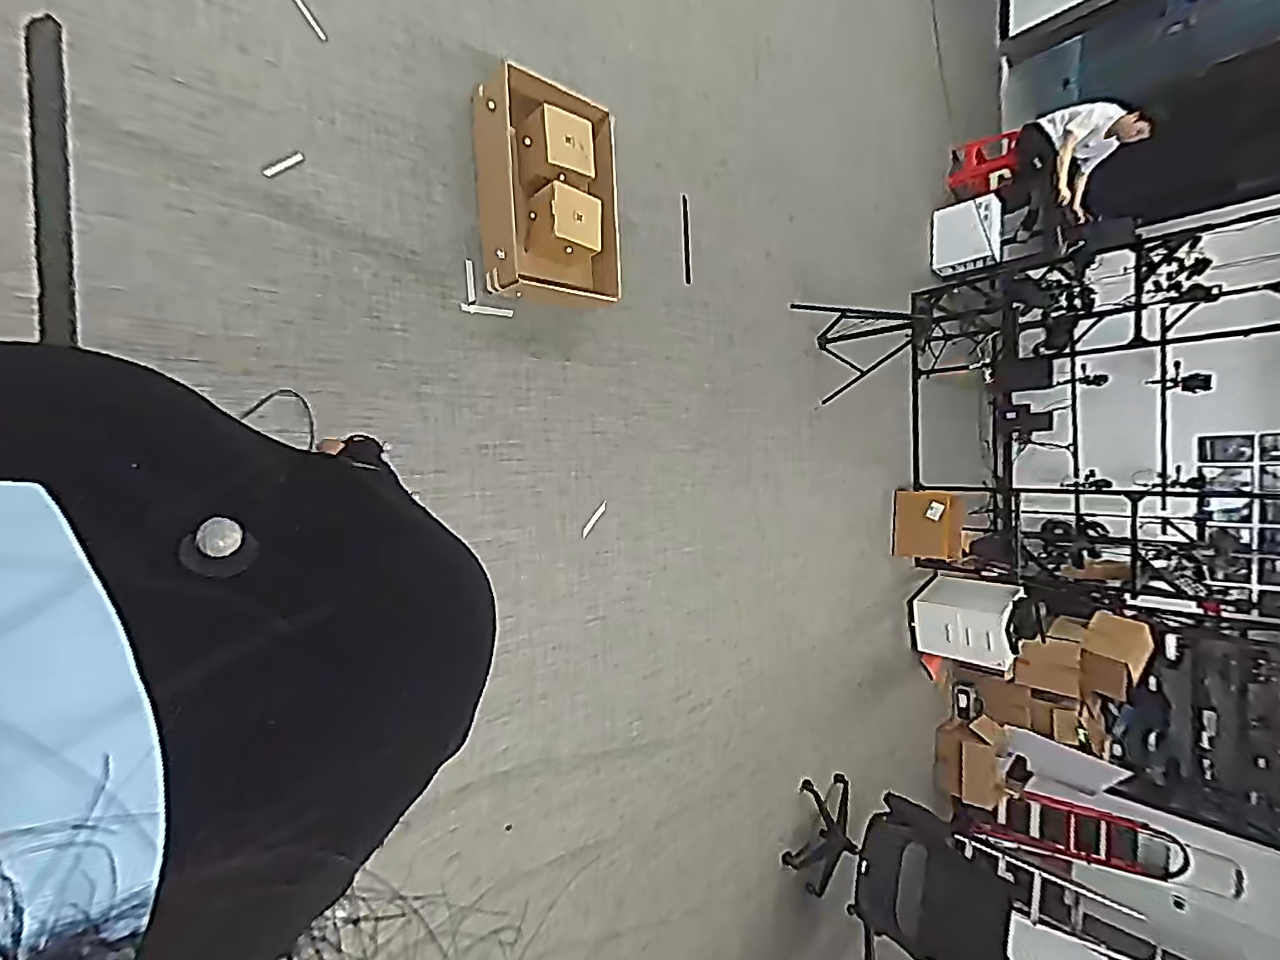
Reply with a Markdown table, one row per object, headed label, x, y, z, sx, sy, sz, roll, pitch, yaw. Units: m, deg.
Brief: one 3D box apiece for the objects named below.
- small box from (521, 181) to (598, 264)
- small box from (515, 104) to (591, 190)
| label | x | y | z | sx | sy | sz | roll | pitch | yaw |
| --- | --- | --- | --- | --- | --- | --- | --- | --- | --- |
| small box | -0.253 | -0.798 | 1.702 | 0.179 | 0.176 | 0.168 | 2 | 89 | -43 |
| small box | -0.274 | -1.014 | 1.675 | 0.179 | 0.176 | 0.168 | -8 | 98 | -43 |
